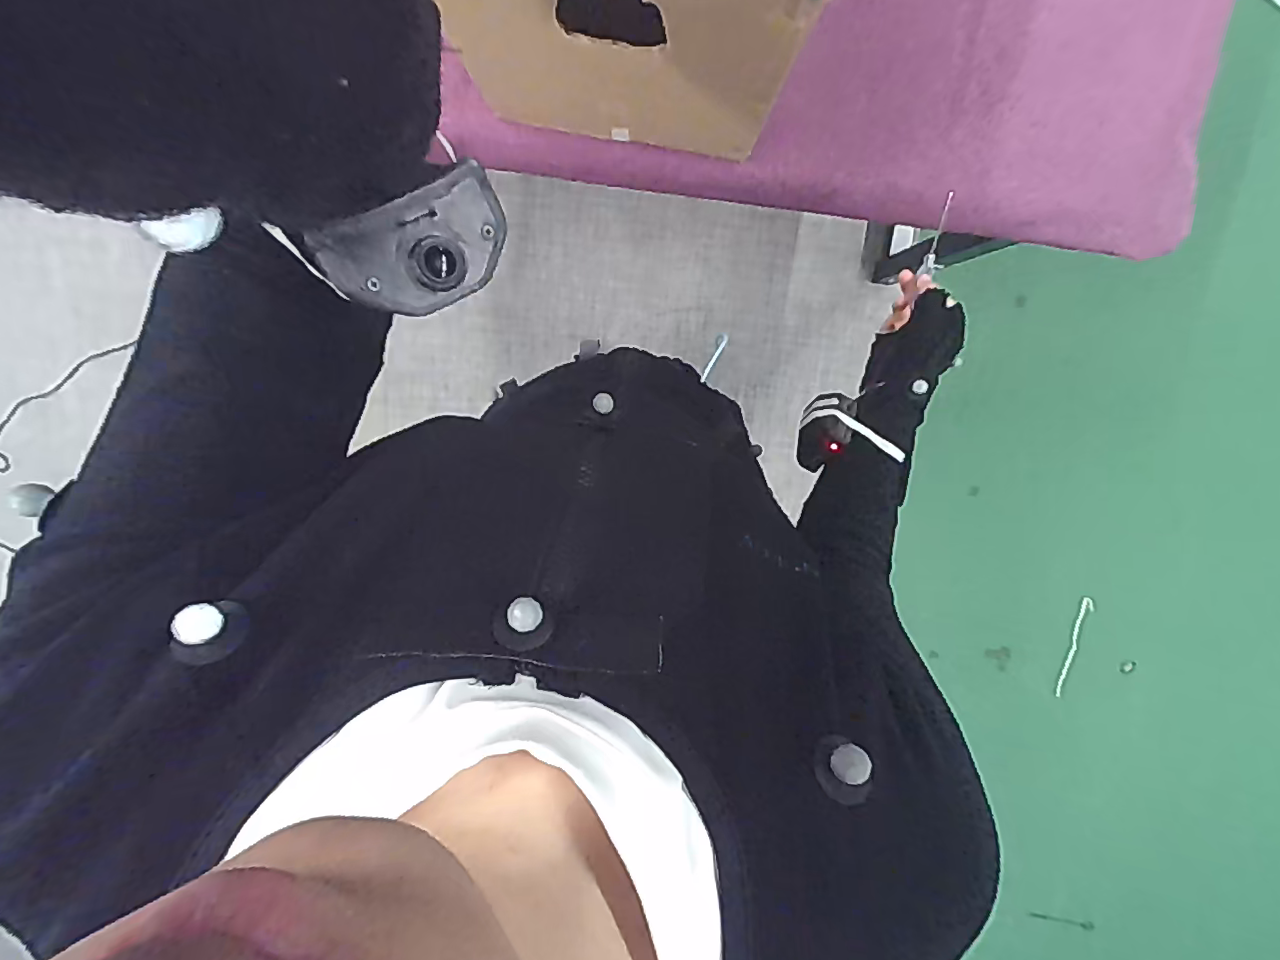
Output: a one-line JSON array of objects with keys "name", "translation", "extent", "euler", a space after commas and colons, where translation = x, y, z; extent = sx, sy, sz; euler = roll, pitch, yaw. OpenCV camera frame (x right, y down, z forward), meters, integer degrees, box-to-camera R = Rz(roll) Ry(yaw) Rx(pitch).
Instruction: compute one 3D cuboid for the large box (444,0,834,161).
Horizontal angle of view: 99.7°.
[{"name": "large box", "translation": [0.015, -0.576, 0.479], "extent": [0.320, 0.320, 0.408], "euler": [10, 102, -1]}]
